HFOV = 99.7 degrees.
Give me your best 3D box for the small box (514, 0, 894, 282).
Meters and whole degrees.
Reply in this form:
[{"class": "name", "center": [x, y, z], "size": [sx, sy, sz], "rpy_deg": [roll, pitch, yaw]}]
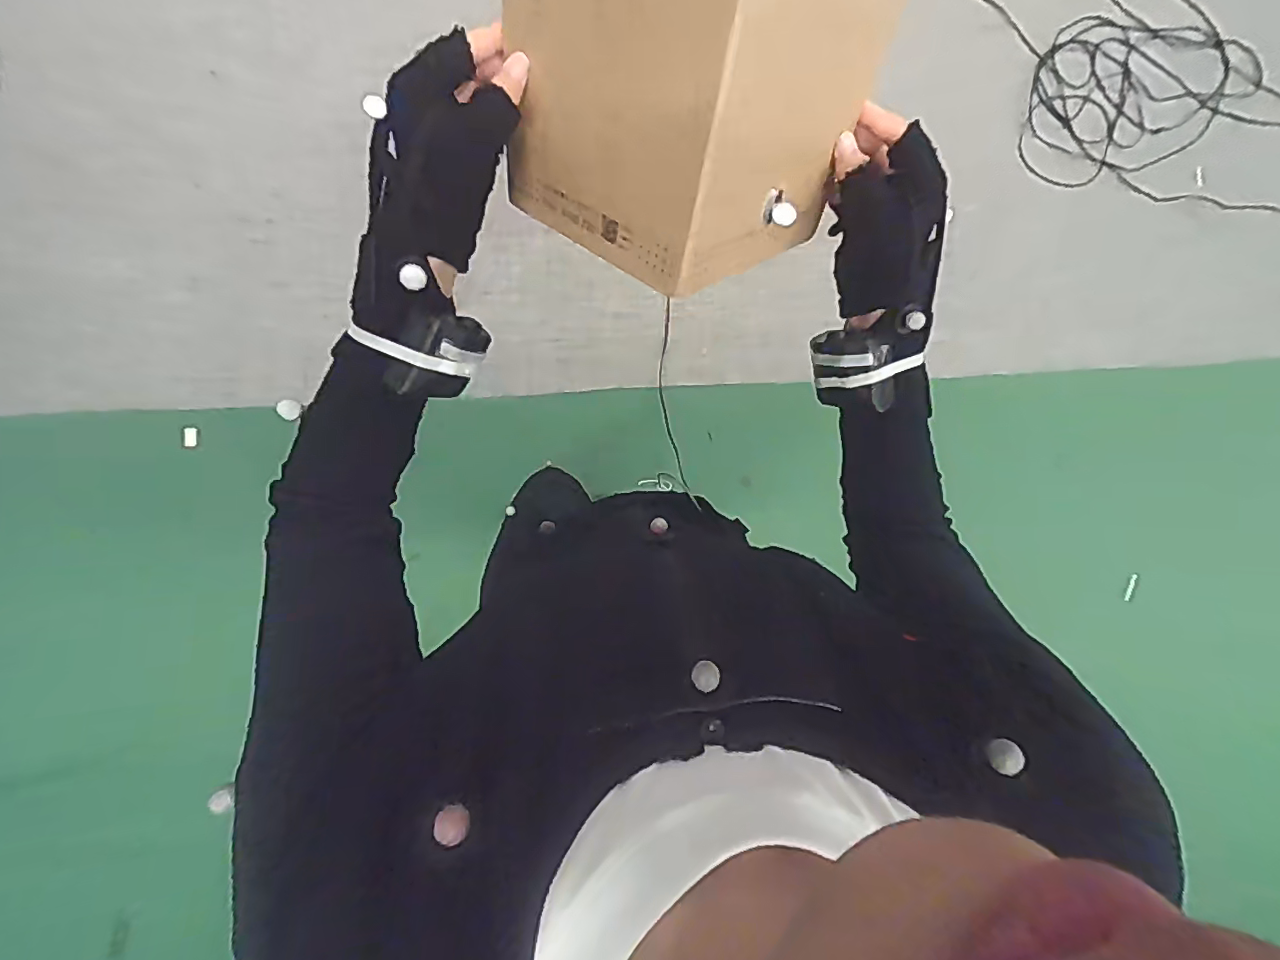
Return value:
[{"class": "small box", "center": [0.029, -0.258, 0.357], "size": [0.168, 0.176, 0.179], "rpy_deg": [38, 51, 23]}]
